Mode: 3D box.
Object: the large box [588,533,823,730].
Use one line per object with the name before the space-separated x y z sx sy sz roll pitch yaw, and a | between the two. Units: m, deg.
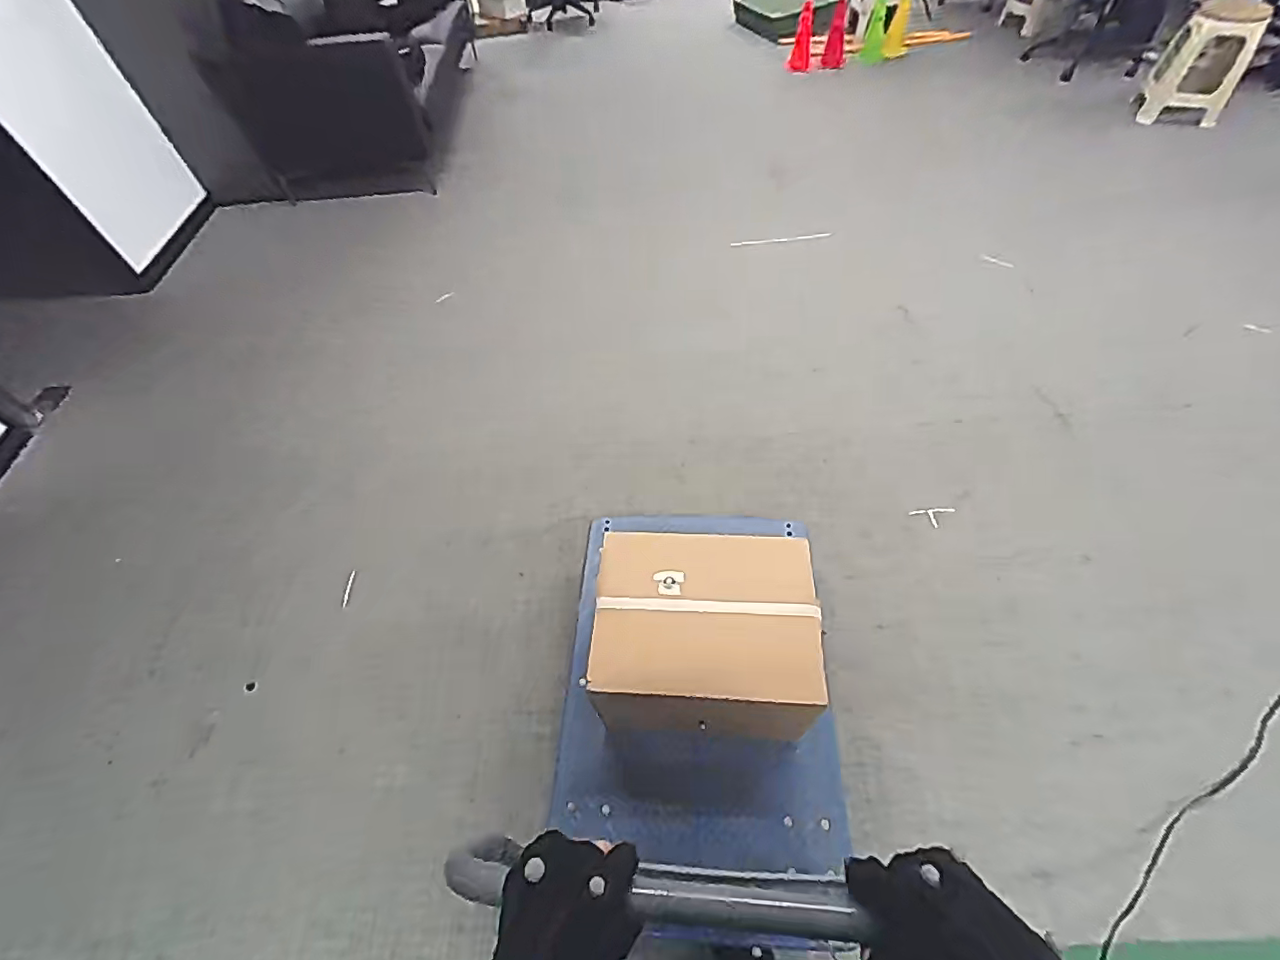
large box | 0.129 0.318 1.119 0.408 0.320 0.320 0 53 6
